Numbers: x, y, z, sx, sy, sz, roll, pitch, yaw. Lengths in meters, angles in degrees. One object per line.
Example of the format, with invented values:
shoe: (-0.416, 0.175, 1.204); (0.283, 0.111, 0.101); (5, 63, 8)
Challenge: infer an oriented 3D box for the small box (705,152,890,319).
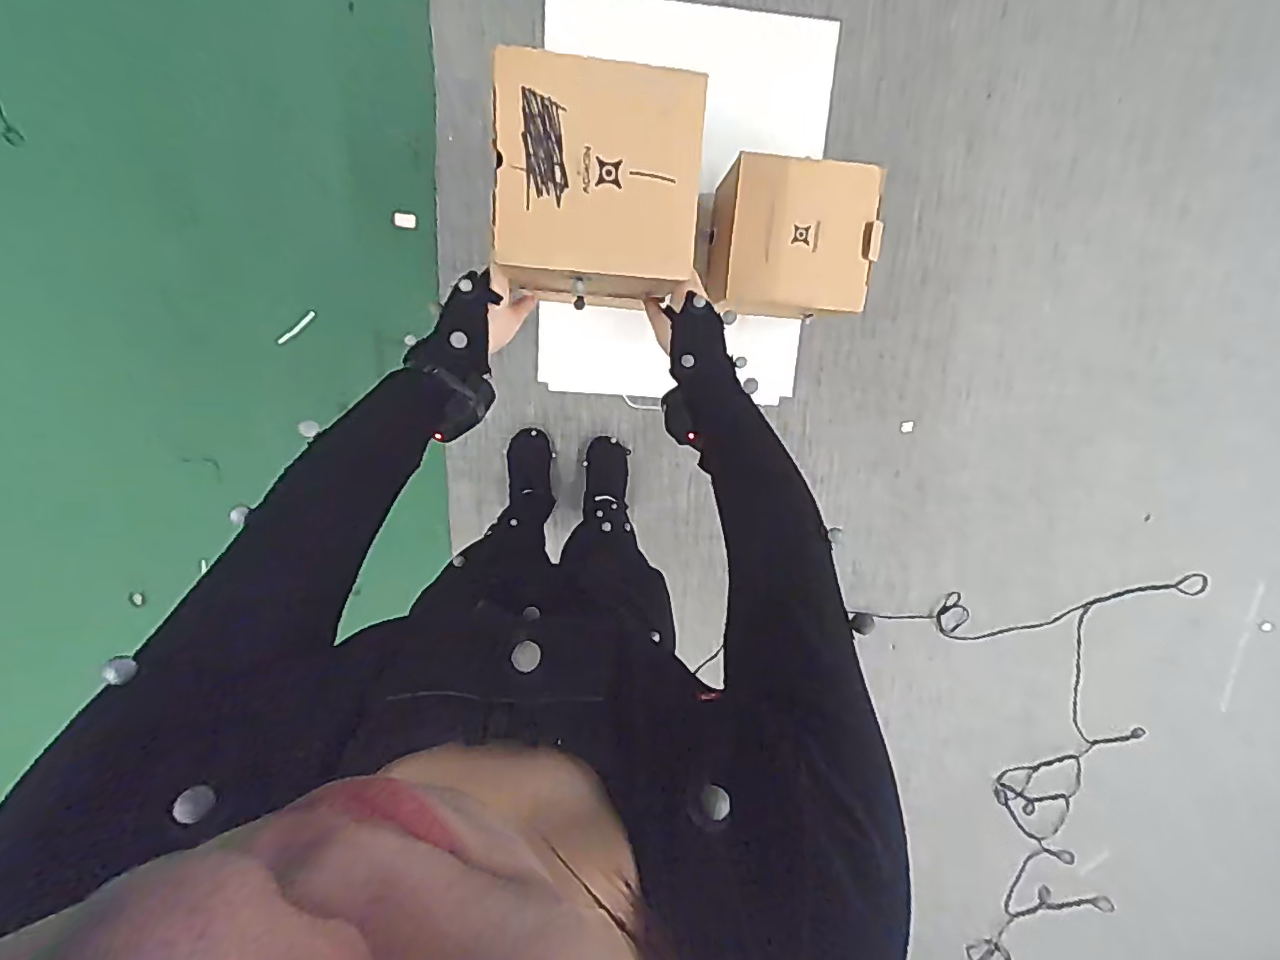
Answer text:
small box: (0.193, -0.307, 0.716); (0.179, 0.176, 0.168); (4, 103, -4)

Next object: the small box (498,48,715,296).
small box: (-0.037, -0.278, 0.531); (0.179, 0.176, 0.168); (2, 104, -7)

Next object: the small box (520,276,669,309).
small box: (-0.052, -0.314, 0.691); (0.179, 0.176, 0.168); (3, 104, -6)
